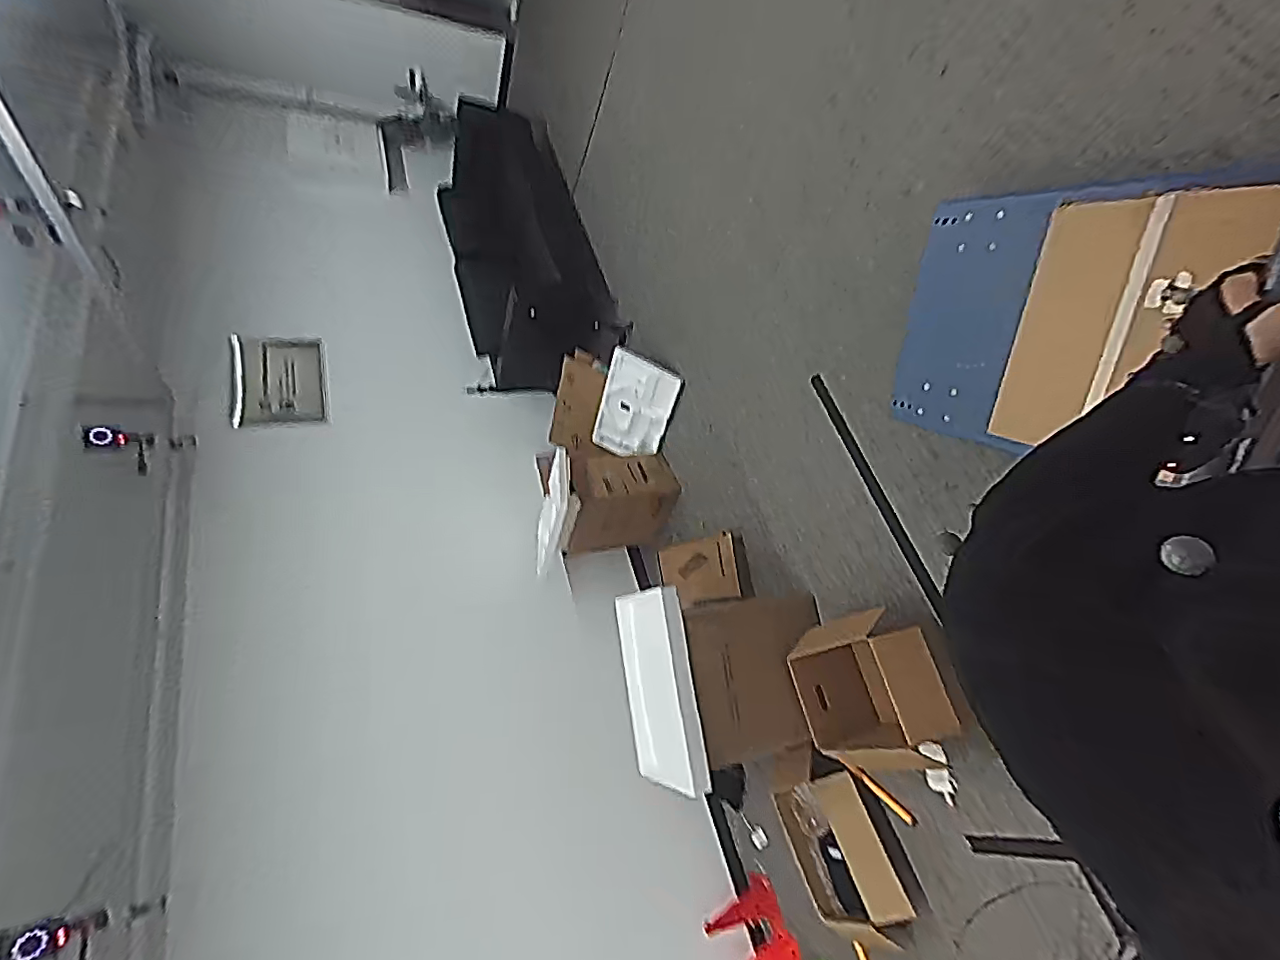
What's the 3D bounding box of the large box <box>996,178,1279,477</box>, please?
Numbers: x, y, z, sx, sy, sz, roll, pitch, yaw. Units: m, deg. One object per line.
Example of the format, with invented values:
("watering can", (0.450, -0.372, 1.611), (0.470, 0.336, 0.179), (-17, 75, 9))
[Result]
("large box", (0.895, -0.245, 0.915), (0.320, 0.320, 0.408), (36, 126, 57))
